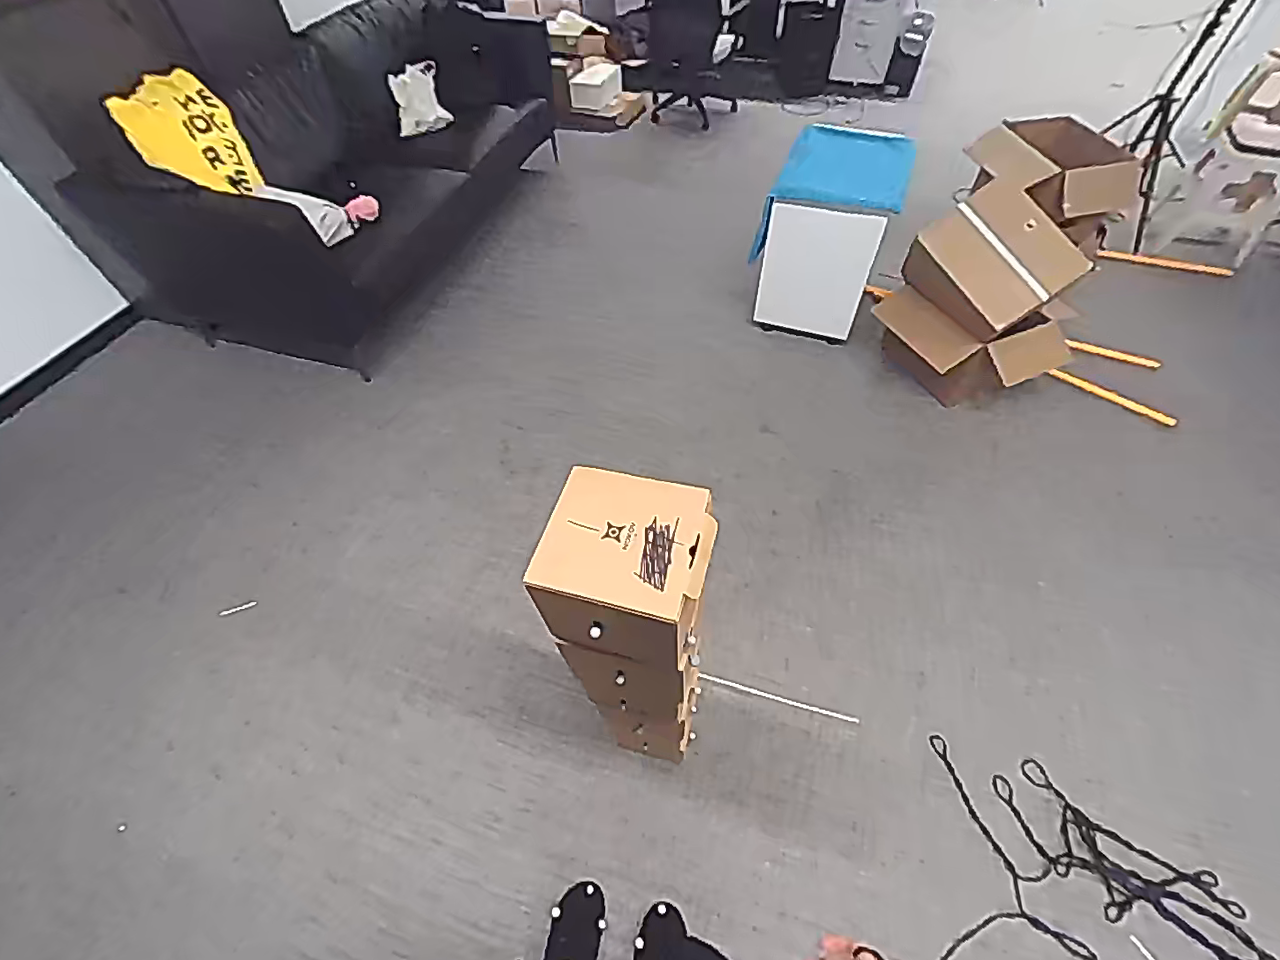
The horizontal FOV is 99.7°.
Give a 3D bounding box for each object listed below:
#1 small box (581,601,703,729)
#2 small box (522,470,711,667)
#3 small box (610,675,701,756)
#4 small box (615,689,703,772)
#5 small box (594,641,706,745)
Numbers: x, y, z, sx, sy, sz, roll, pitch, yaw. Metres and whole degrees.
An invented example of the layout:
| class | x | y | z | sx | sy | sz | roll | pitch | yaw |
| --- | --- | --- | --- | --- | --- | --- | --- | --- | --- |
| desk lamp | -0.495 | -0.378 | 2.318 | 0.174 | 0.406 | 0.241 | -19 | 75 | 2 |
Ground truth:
| class | x | y | z | sx | sy | sz | roll | pitch | yaw |
| --- | --- | --- | --- | --- | --- | --- | --- | --- | --- |
| small box | 0.009 | 0.305 | 0.936 | 0.168 | 0.176 | 0.179 | 10 | 55 | 11 |
| small box | -0.016 | 0.115 | 0.670 | 0.179 | 0.176 | 0.168 | 11 | 55 | 14 |
| small box | 0.032 | 0.492 | 1.202 | 0.179 | 0.176 | 0.168 | 12 | 55 | 12 |
| small box | 0.049 | 0.596 | 1.328 | 0.179 | 0.176 | 0.168 | 12 | 53 | 12 |
| small box | 0.024 | 0.404 | 1.064 | 0.179 | 0.176 | 0.168 | 11 | 53 | 11 |
